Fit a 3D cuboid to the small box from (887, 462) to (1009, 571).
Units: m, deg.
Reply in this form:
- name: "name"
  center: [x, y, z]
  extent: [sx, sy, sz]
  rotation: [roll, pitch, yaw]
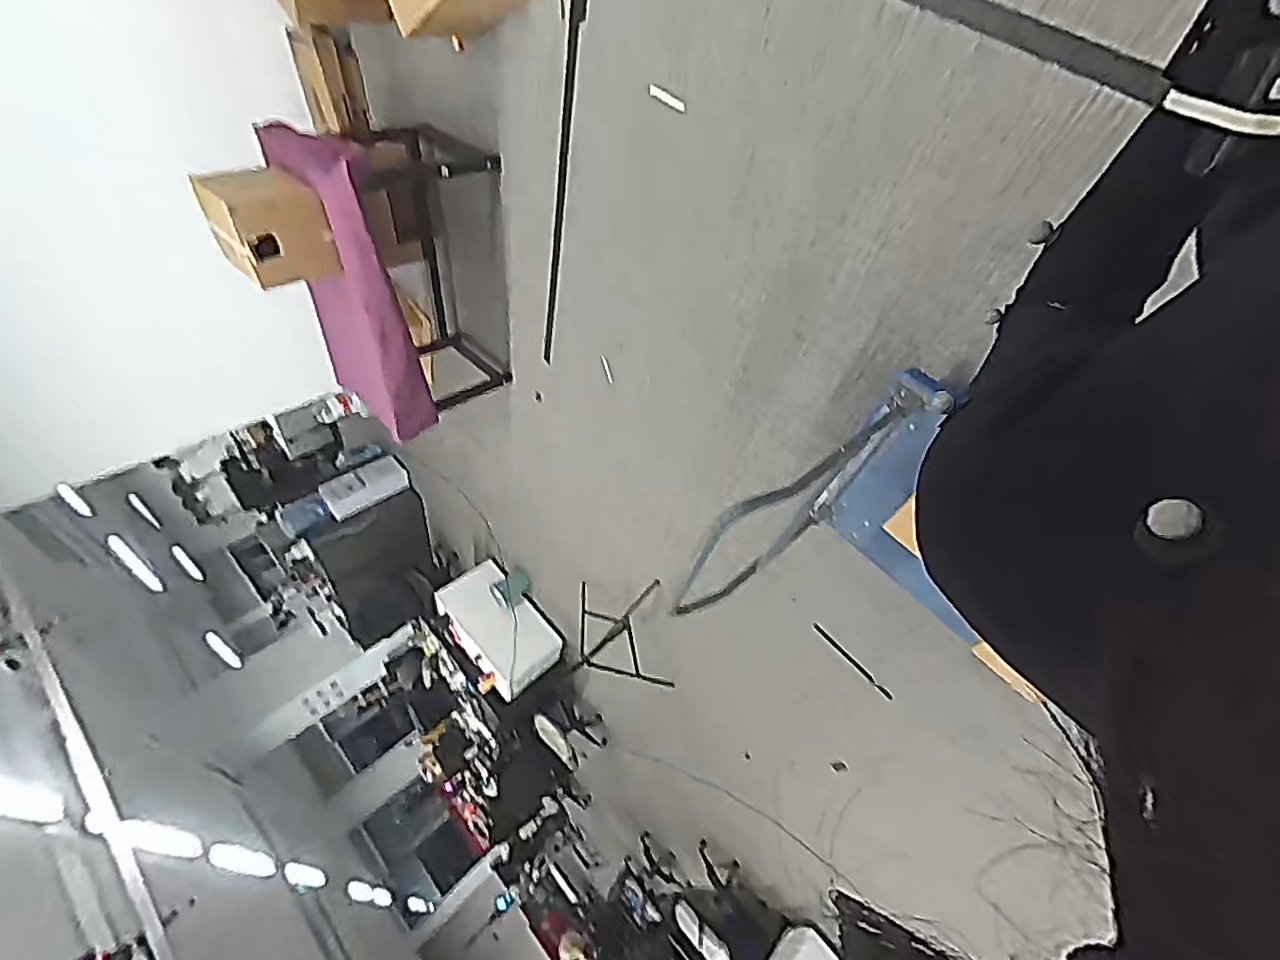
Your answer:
- name: "small box"
  center: [0.770, 0.086, 1.349]
  extent: [0.179, 0.176, 0.168]
  rotation: [45, 145, 19]
